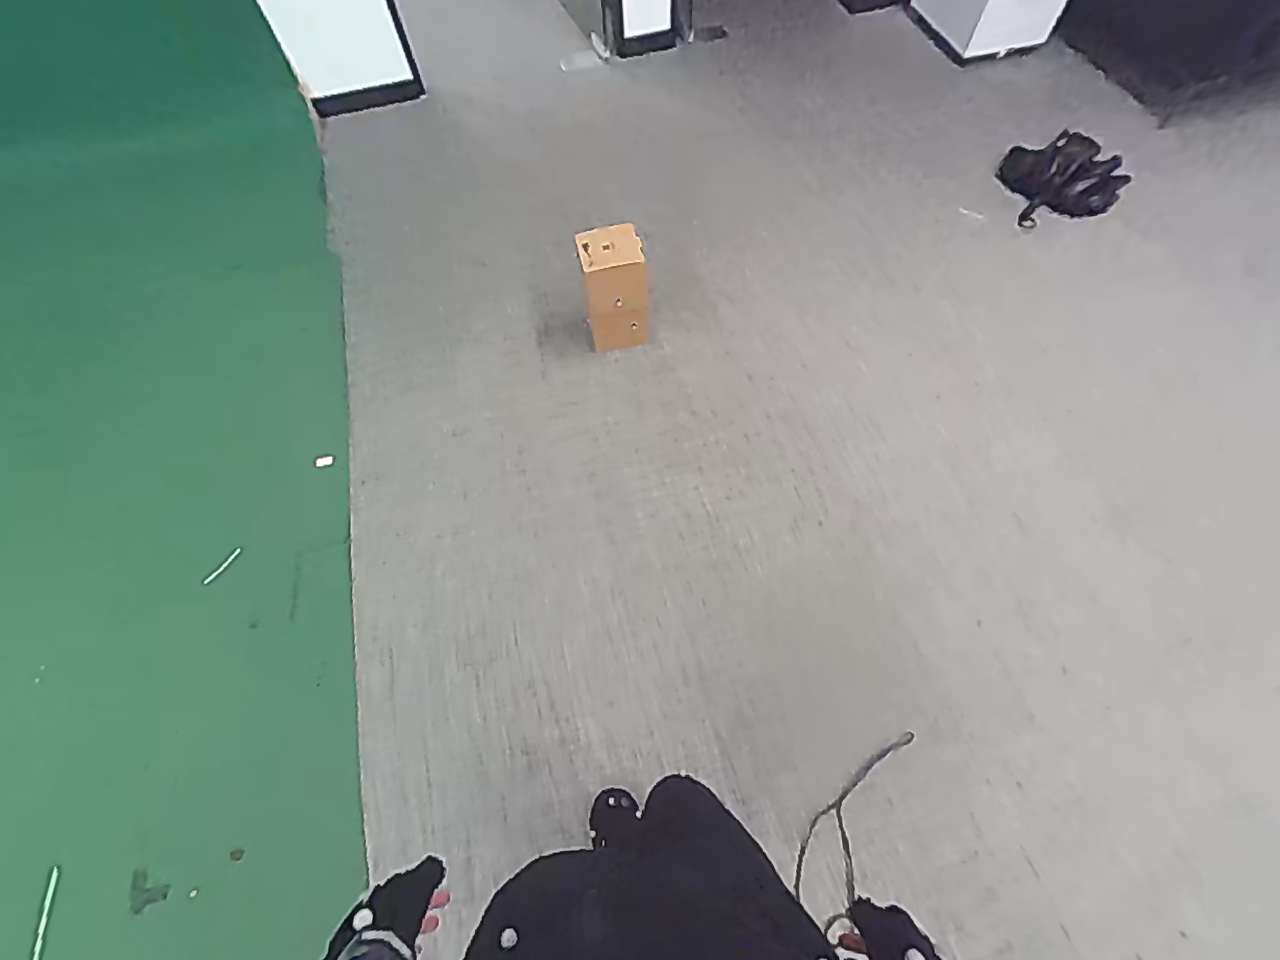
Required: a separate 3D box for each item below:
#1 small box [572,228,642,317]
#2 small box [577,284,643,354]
[{"bbox_3d":[-0.094,-0.610,1.600,0.179,0.176,0.168,-12,63,-5],"label":"small box"},{"bbox_3d":[-0.093,-0.536,1.746,0.179,0.176,0.168,-15,63,-4],"label":"small box"}]
